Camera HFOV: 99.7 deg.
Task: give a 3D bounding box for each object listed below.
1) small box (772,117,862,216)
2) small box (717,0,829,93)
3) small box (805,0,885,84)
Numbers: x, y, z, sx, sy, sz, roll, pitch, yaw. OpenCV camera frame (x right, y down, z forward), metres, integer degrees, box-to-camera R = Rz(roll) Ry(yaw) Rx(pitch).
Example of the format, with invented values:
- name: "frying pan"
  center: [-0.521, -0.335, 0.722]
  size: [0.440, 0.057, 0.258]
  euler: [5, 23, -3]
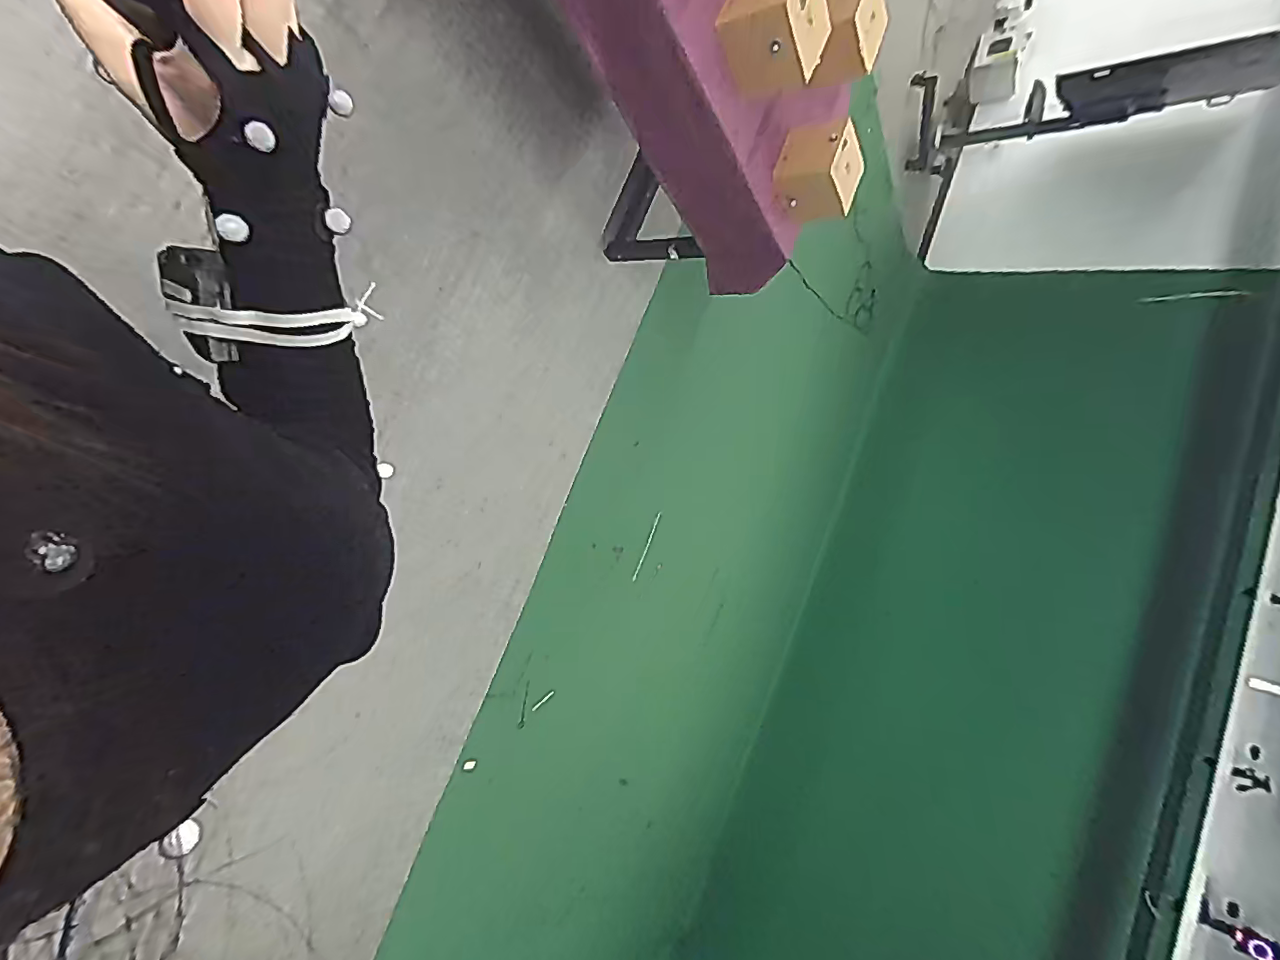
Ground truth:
- name: "small box"
  center: [0.490, -0.858, 1.498]
  size: [0.179, 0.176, 0.168]
  euler: [31, 78, -52]
- name: "small box"
  center: [0.293, -1.005, 1.196]
  size: [0.179, 0.176, 0.168]
  euler: [37, 73, -52]
- name: "small box"
  center: [0.519, -1.192, 1.414]
  size: [0.168, 0.176, 0.179]
  euler: [28, 81, -52]
